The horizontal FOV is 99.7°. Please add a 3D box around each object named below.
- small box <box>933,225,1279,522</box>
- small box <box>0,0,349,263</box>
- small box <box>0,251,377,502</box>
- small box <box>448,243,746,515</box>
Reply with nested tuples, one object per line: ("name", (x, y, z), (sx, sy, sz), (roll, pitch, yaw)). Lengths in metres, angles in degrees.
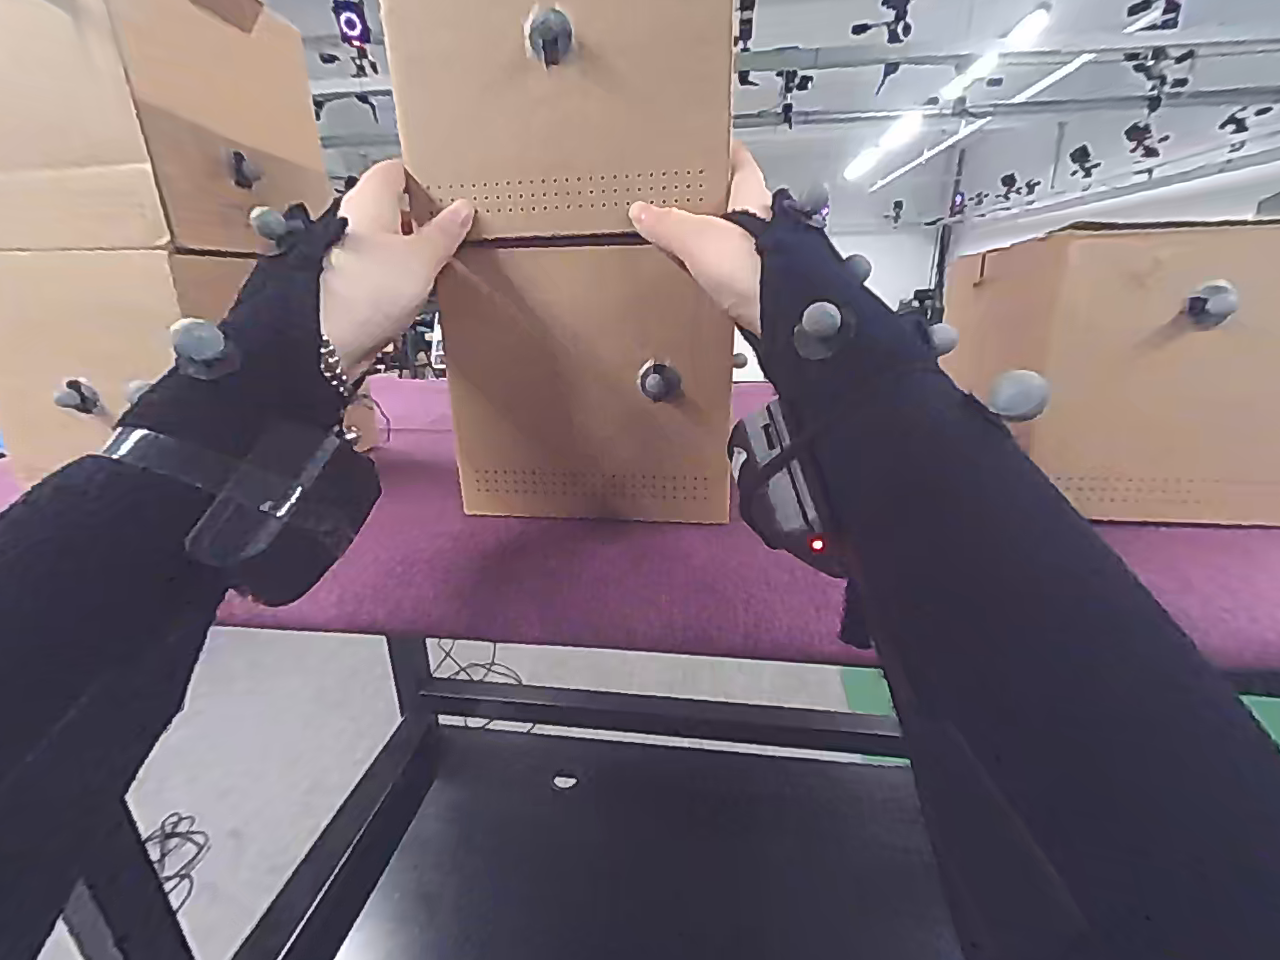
("small box", (0.330, -0.075, 0.387), (0.179, 0.176, 0.168), (3, 16, 8))
("small box", (-0.343, -0.242, 0.383), (0.179, 0.176, 0.168), (2, 20, 3))
("small box", (-0.338, -0.088, 0.436), (0.168, 0.176, 0.179), (3, 19, 5))
("small box", (-0.018, -0.077, 0.407), (0.179, 0.176, 0.168), (1, 17, 6))
